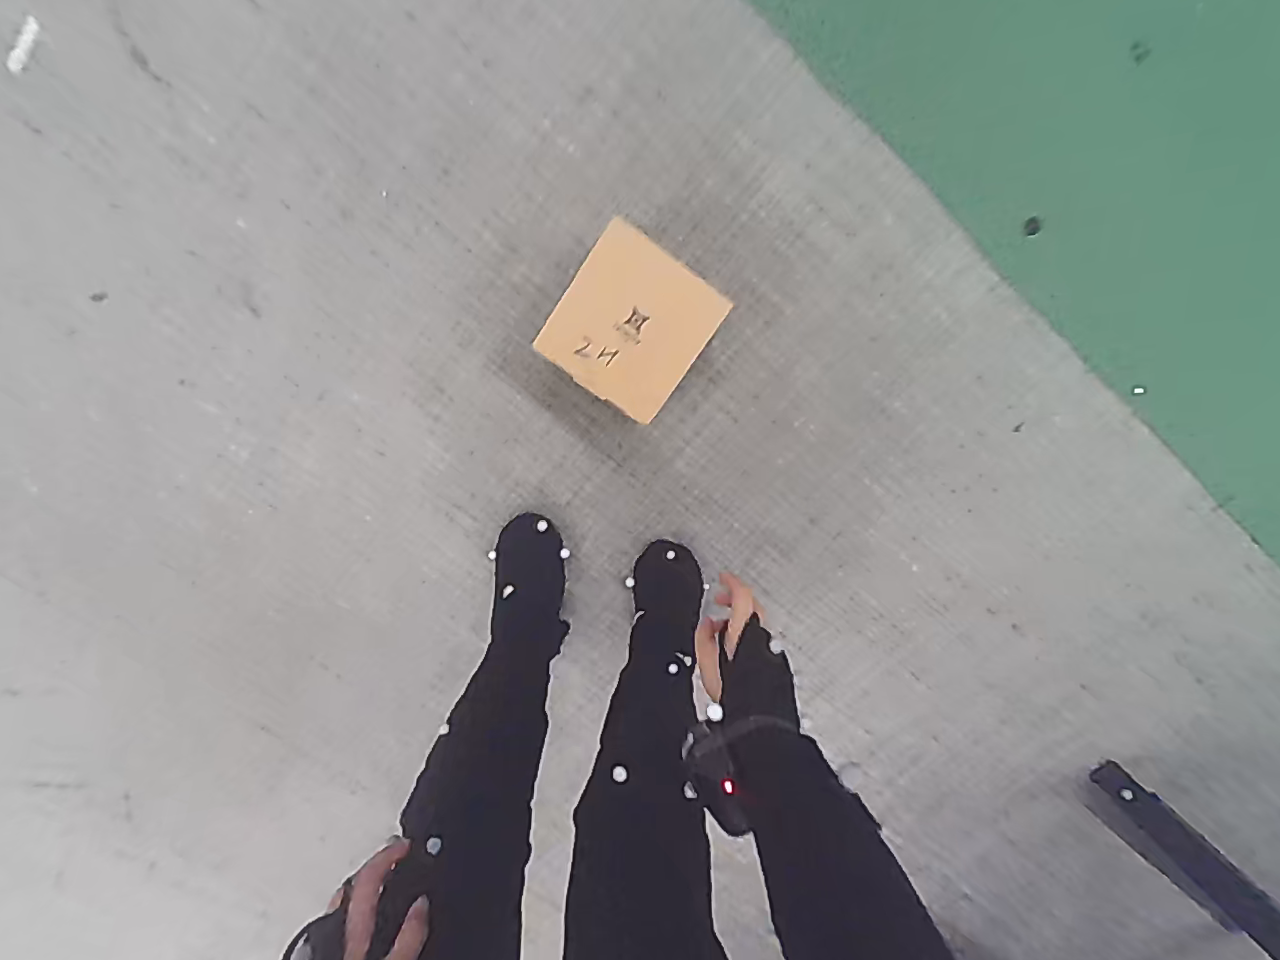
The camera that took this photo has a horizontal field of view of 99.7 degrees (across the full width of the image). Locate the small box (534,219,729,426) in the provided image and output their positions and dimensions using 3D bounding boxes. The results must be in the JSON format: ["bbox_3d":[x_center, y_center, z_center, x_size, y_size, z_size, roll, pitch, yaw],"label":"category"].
[{"bbox_3d":[-0.012,-0.197,0.701,0.168,0.176,0.179,34,102,-8],"label":"small box"}]
